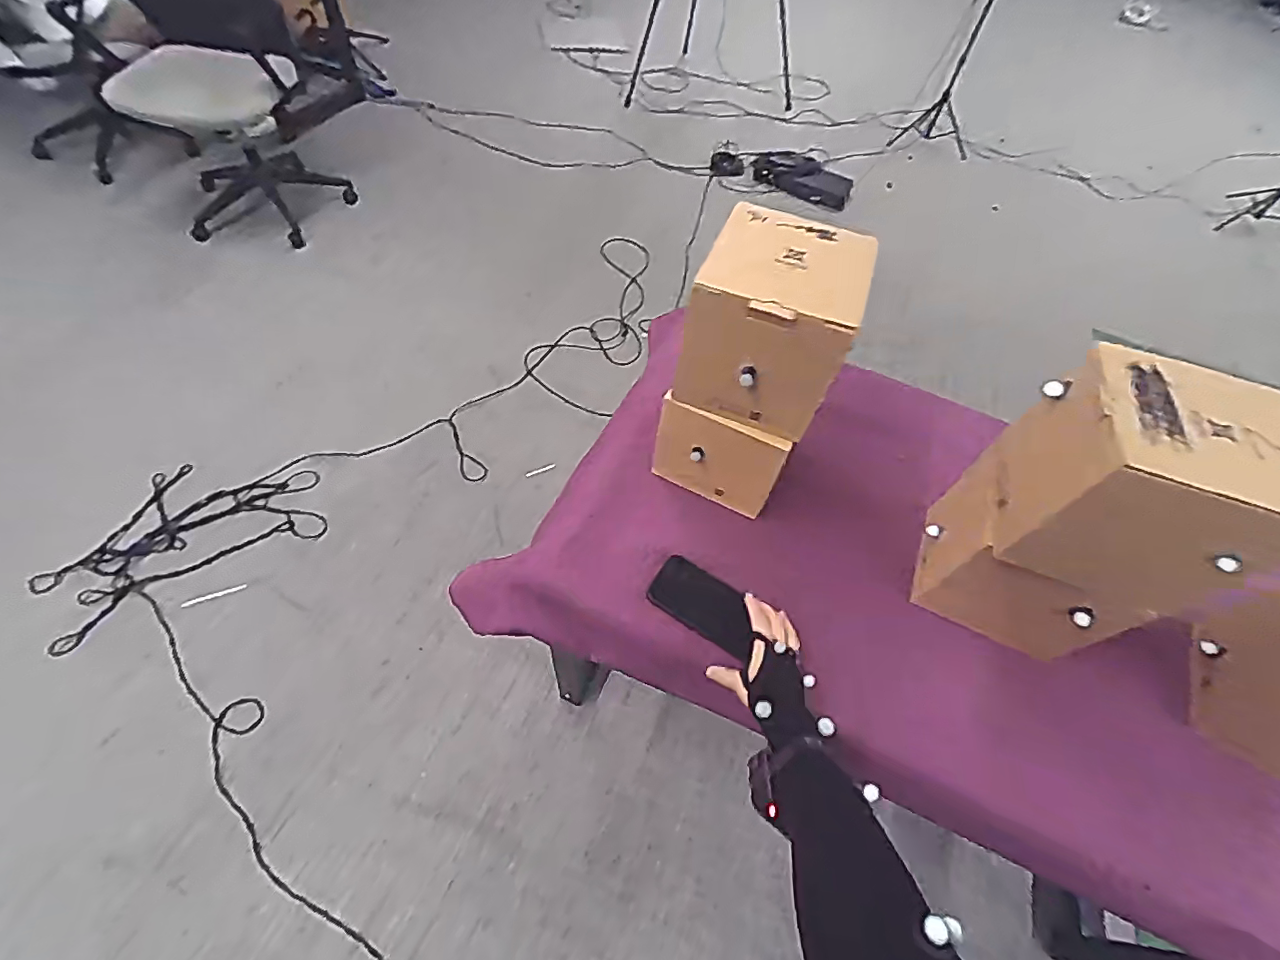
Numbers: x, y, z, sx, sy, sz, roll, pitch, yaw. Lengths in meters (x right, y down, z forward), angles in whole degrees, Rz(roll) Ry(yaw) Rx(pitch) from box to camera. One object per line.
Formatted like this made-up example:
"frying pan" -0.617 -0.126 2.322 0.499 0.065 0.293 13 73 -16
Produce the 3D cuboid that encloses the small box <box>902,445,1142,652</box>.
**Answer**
"small box" 0.464 0.093 0.674 0.179 0.176 0.168 25 57 11

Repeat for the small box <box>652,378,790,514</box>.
"small box" 0.126 -0.081 0.763 0.168 0.176 0.179 25 57 12

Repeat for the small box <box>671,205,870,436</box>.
"small box" 0.143 -0.180 0.632 0.168 0.176 0.179 21 57 8
